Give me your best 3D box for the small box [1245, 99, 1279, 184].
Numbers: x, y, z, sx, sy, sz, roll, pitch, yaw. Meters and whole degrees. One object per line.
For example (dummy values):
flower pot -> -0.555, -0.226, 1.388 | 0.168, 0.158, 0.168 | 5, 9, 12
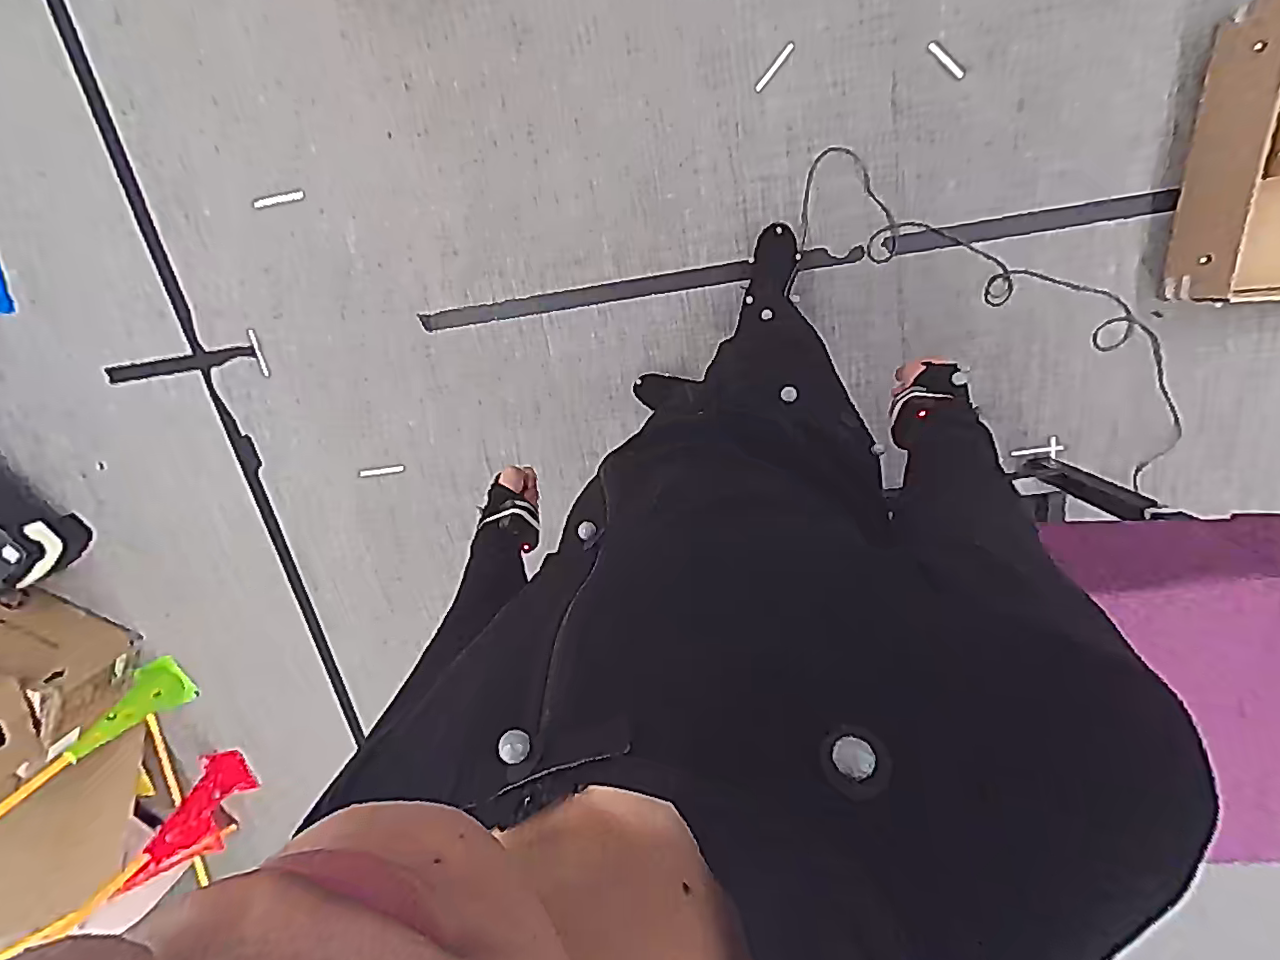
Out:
small box -> 1.463, -0.744, 1.144 | 0.179, 0.176, 0.168 | -7, 109, 7
